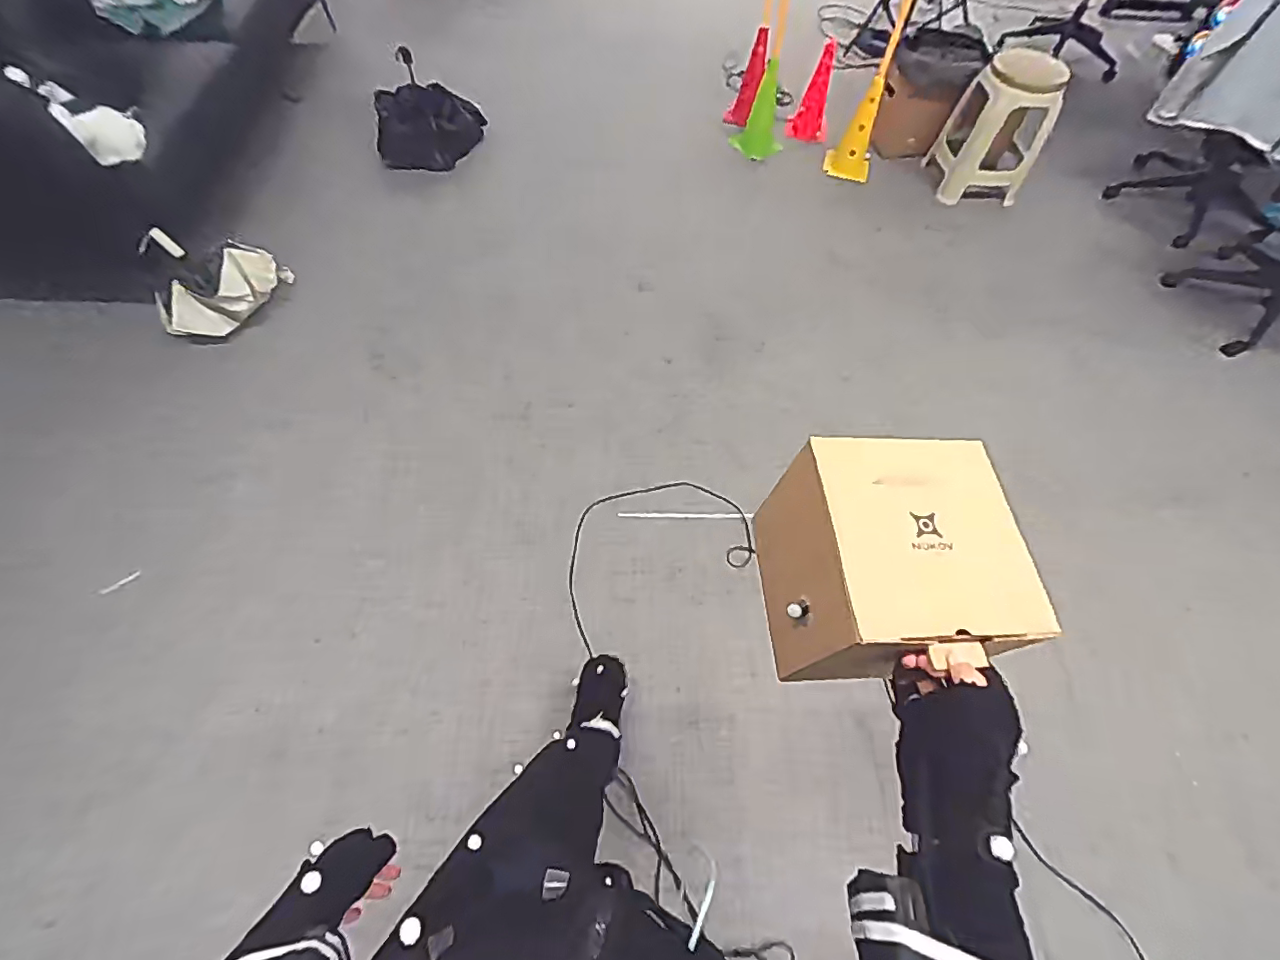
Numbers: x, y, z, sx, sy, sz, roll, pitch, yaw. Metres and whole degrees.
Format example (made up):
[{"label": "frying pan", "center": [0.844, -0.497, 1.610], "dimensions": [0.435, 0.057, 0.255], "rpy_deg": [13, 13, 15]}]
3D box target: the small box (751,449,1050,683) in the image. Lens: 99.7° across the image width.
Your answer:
[{"label": "small box", "center": [0.216, 0.089, 0.506], "dimensions": [0.168, 0.176, 0.179], "rpy_deg": [1, 60, -8]}]
